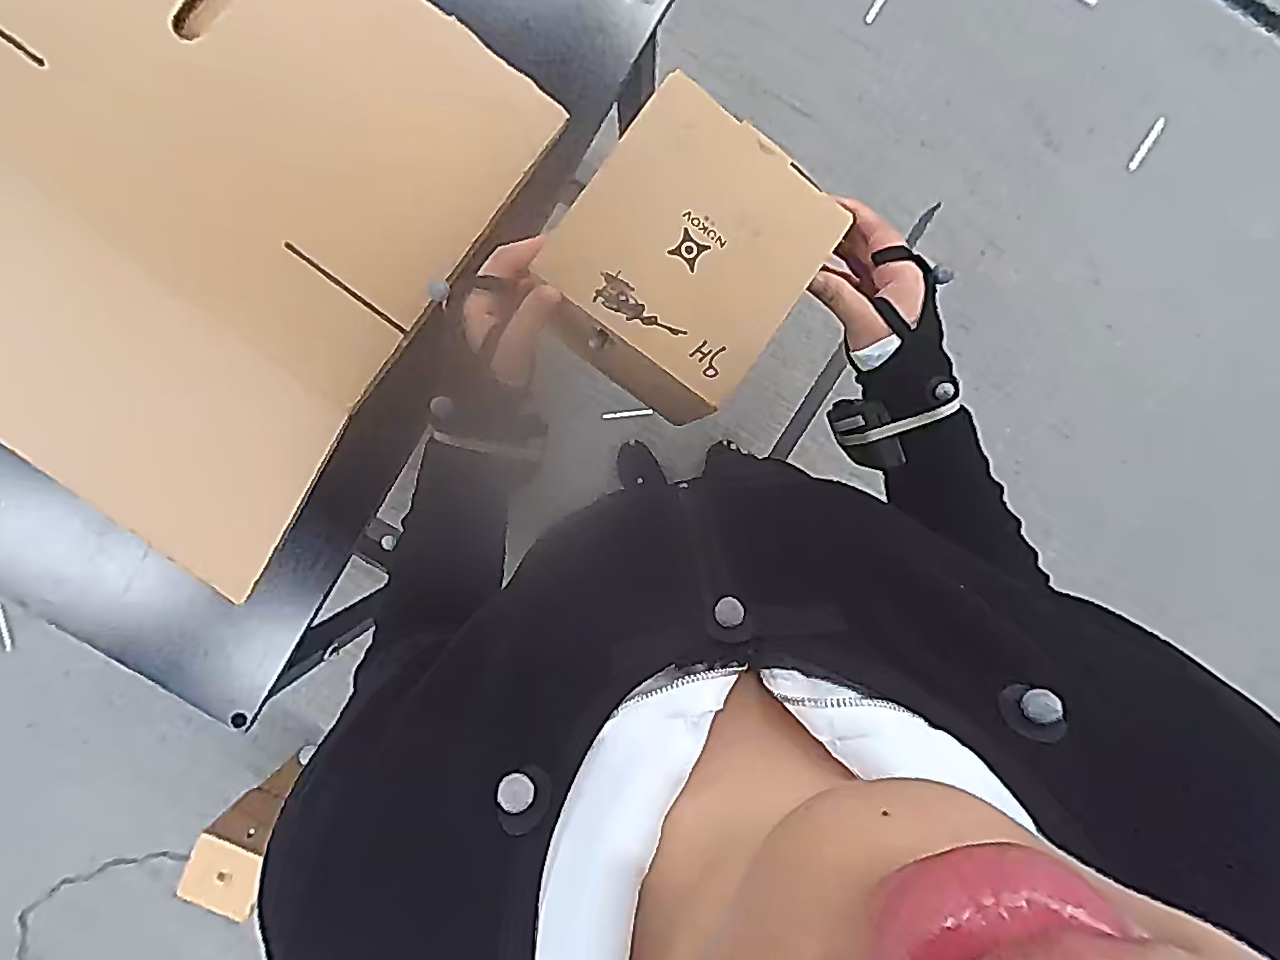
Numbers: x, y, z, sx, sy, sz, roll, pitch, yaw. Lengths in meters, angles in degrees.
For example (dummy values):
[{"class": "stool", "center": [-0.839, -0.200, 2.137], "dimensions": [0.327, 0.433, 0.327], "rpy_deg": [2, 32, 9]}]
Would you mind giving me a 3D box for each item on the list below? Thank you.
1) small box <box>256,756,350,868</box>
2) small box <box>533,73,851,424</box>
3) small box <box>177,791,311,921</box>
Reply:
[{"class": "small box", "center": [-0.941, 0.891, 1.474], "dimensions": [0.179, 0.176, 0.168], "rpy_deg": [28, 94, -3]}, {"class": "small box", "center": [0.030, -0.167, 0.454], "dimensions": [0.168, 0.176, 0.179], "rpy_deg": [35, 86, -4]}, {"class": "small box", "center": [-0.948, 0.900, 1.312], "dimensions": [0.179, 0.176, 0.168], "rpy_deg": [24, 93, 0]}]
